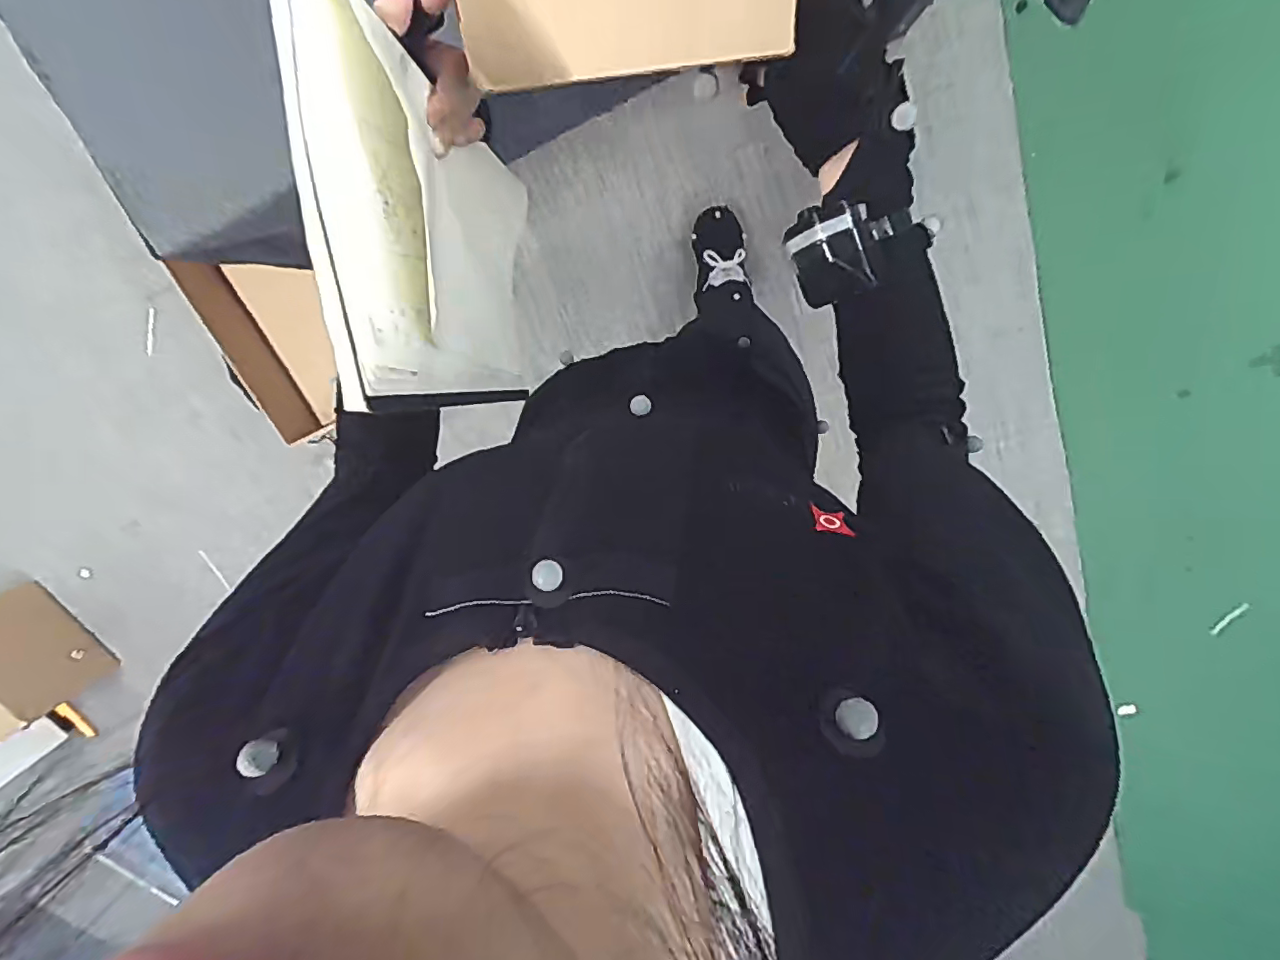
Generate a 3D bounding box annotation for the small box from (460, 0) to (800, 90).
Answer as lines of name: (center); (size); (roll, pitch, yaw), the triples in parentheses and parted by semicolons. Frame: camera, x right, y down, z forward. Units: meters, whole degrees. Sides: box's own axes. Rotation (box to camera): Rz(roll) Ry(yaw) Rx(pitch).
small box: (-0.003, -0.334, 0.305); (0.179, 0.176, 0.168); (1, 127, 11)
